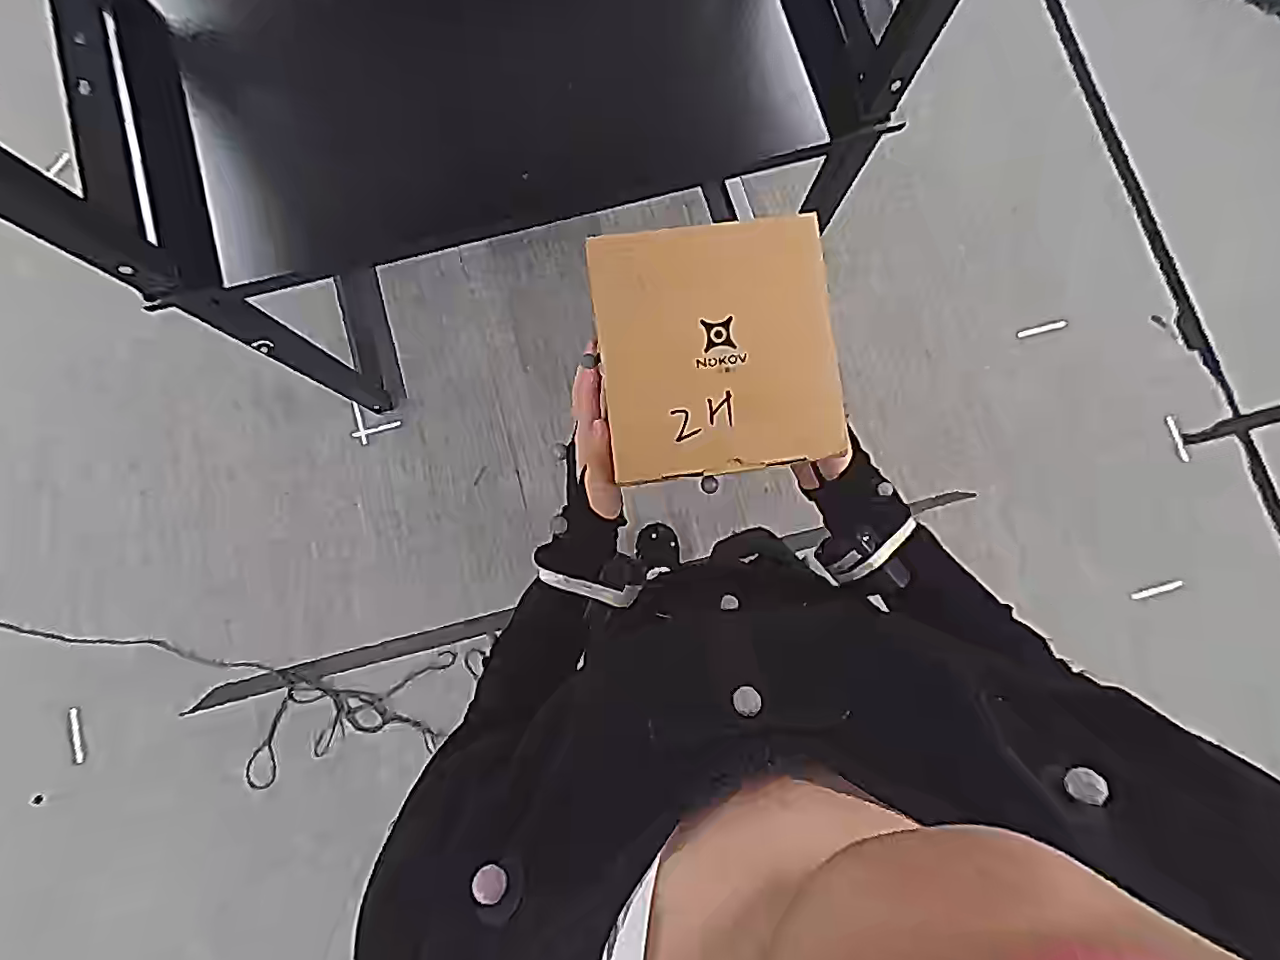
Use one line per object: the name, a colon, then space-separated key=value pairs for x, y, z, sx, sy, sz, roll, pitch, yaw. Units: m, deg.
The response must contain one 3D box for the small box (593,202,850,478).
small box: x=0.052 y=-0.098 z=0.452 sx=0.168 sy=0.176 sz=0.179 roll=-7 pitch=89 yaw=-2
